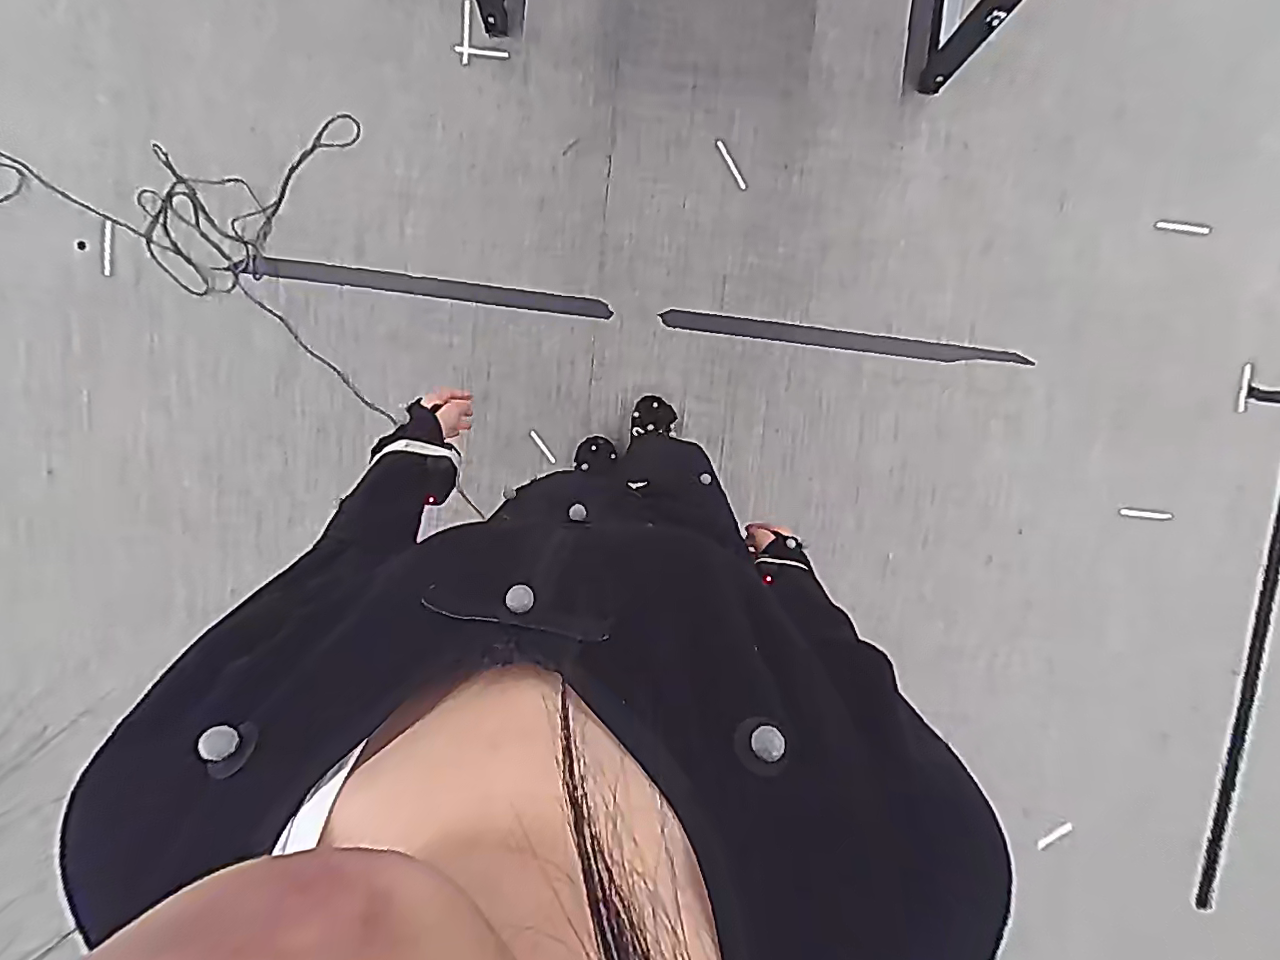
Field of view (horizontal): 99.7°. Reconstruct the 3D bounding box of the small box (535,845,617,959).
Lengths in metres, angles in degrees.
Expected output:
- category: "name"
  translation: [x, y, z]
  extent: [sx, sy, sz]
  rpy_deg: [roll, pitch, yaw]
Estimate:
- category: "small box"
  translation: [-0.137, 0.955, 1.196]
  extent: [0.168, 0.176, 0.179]
  rpy_deg: [2, 94, -3]
